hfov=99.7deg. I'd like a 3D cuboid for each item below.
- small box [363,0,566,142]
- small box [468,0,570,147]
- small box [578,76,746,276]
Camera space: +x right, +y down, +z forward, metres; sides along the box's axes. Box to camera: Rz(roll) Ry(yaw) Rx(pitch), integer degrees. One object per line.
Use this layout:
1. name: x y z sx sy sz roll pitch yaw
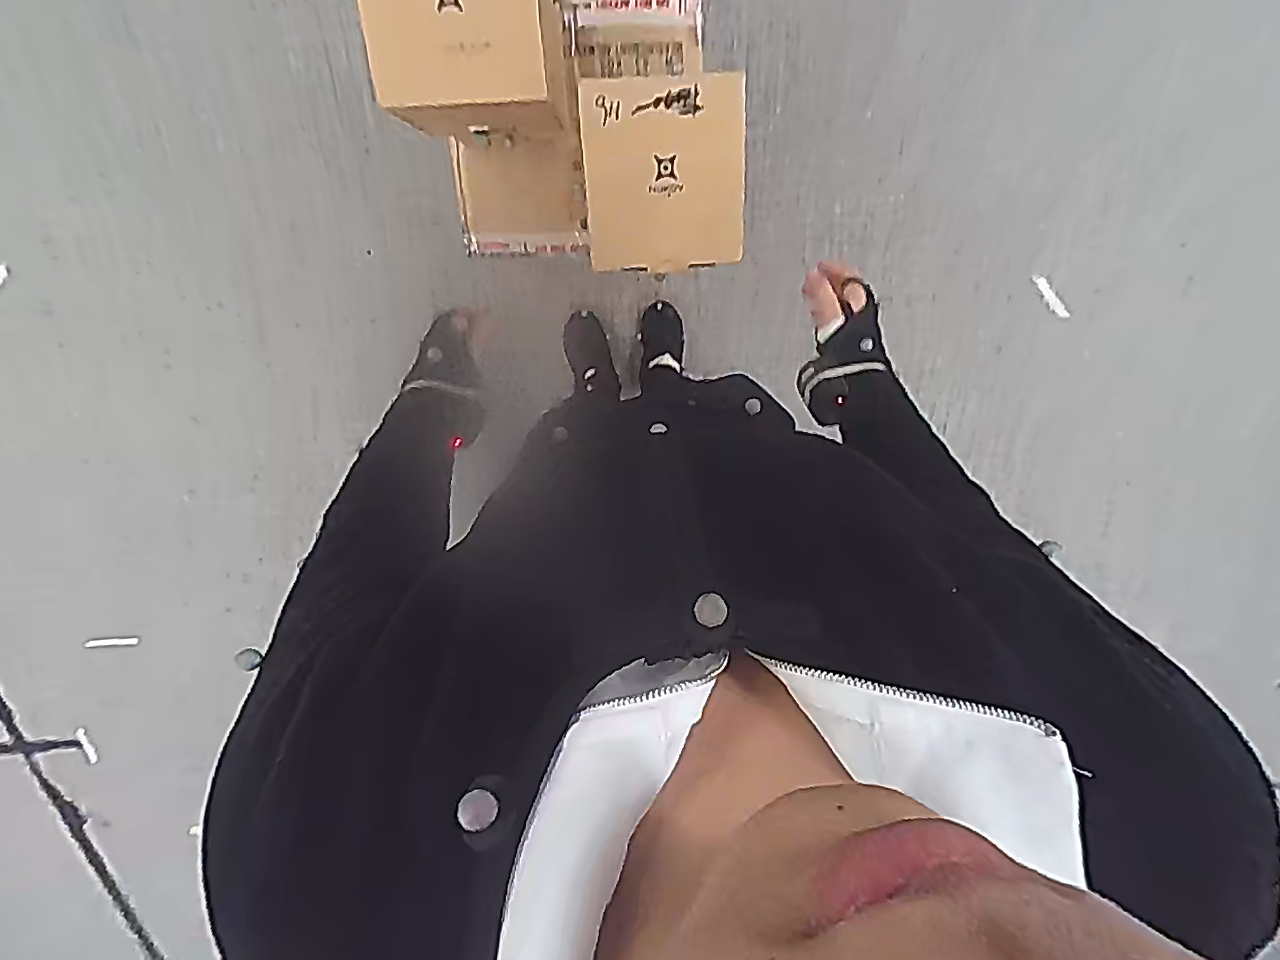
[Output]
1. small box: -0.173 -0.472 0.564 0.168 0.176 0.179 -3 114 0
2. small box: -0.185 -0.554 0.706 0.168 0.176 0.179 -3 113 0
3. small box: 0.021 -0.339 0.628 0.168 0.176 0.179 -4 113 -2
